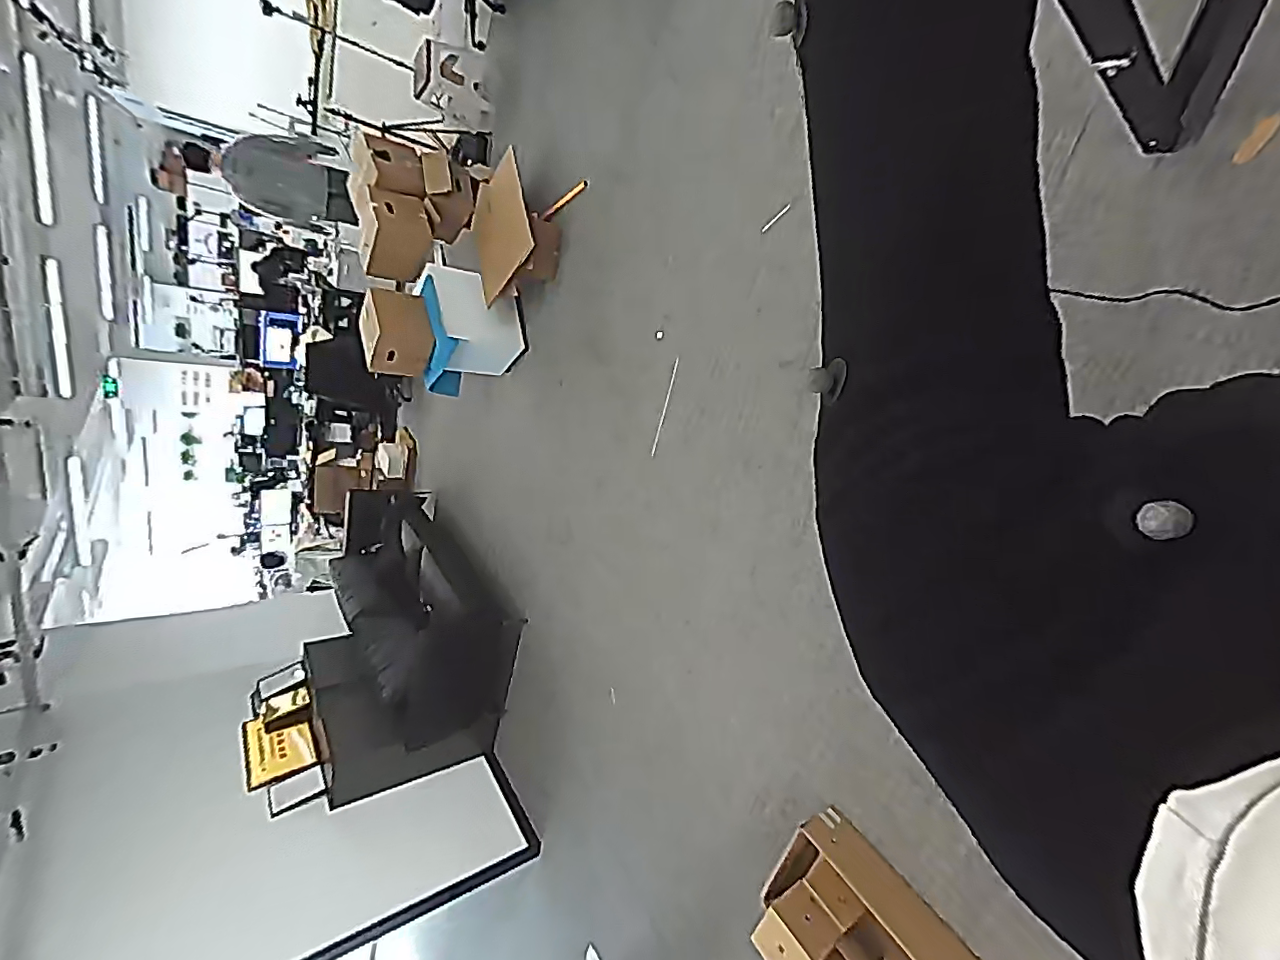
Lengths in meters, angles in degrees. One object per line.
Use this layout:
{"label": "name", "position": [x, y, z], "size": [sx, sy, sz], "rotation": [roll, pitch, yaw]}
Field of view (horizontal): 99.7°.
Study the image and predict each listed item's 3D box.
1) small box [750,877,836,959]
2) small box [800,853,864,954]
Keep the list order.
{"label": "small box", "position": [0.479, 1.388, 1.676], "size": [0.168, 0.176, 0.179], "rotation": [40, 121, 42]}
{"label": "small box", "position": [0.608, 1.383, 1.779], "size": [0.168, 0.176, 0.179], "rotation": [39, 120, 42]}
